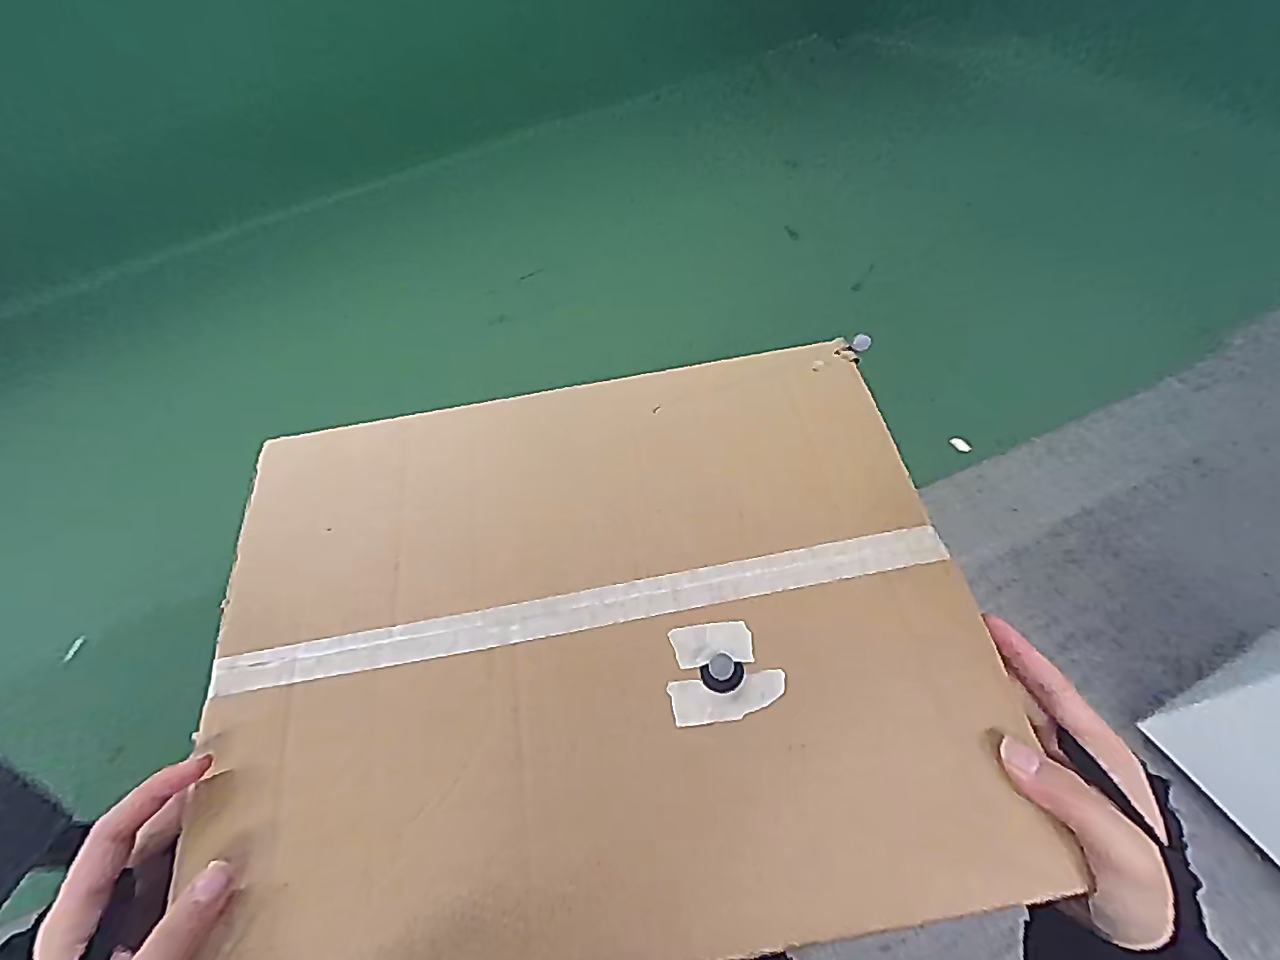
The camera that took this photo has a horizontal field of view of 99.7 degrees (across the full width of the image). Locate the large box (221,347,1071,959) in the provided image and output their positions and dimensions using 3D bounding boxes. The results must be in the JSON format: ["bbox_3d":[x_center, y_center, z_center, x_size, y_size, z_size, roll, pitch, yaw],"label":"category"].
[{"bbox_3d":[-0.009,0.138,0.445,0.408,0.320,0.320,-9,62,-1],"label":"large box"}]
